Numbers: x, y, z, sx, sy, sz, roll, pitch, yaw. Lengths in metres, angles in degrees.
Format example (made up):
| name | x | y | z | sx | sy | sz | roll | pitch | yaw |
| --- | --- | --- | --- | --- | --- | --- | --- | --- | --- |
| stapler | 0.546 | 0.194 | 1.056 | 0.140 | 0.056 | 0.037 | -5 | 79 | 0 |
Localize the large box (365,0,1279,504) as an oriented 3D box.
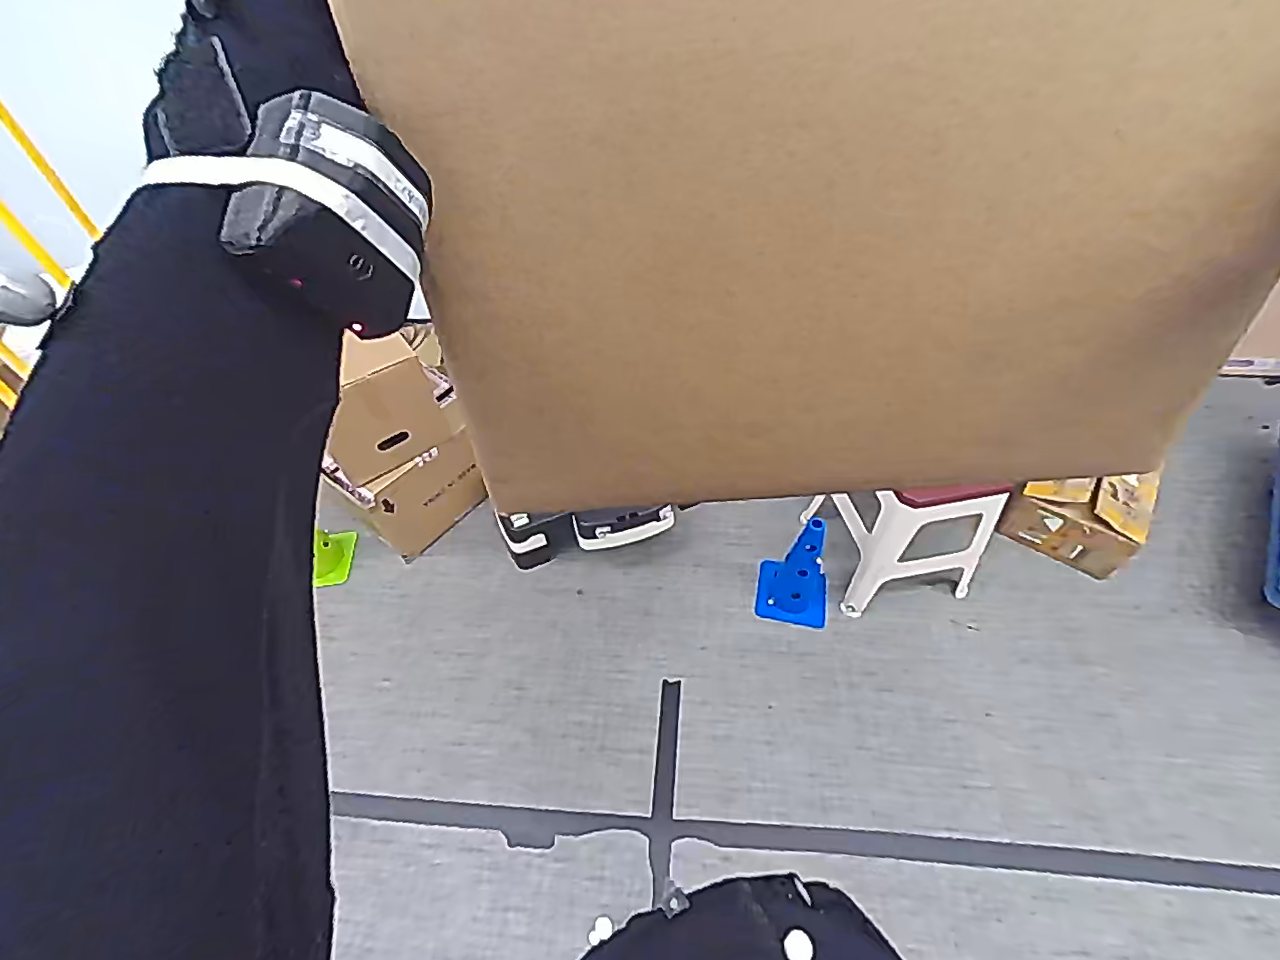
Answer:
| name | x | y | z | sx | sy | sz | roll | pitch | yaw |
| --- | --- | --- | --- | --- | --- | --- | --- | --- | --- |
| large box | 0.093 | -0.205 | 0.371 | 0.408 | 0.320 | 0.320 | -4 | 38 | 1 |
